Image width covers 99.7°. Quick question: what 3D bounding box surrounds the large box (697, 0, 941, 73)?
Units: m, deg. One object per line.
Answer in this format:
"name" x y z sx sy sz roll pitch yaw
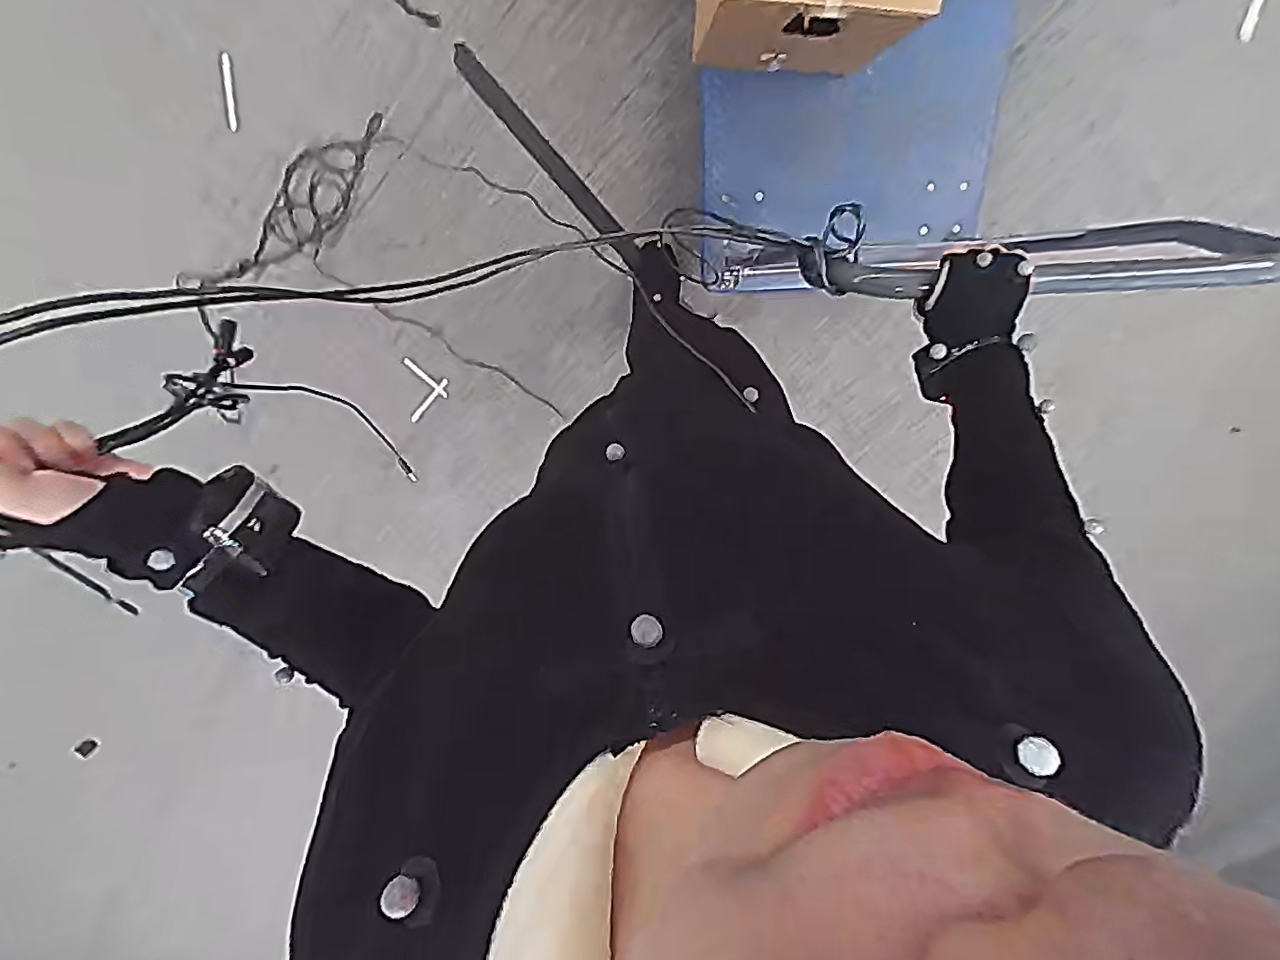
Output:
"large box" 0.265 -0.891 0.802 0.320 0.320 0.408 2 113 -4
